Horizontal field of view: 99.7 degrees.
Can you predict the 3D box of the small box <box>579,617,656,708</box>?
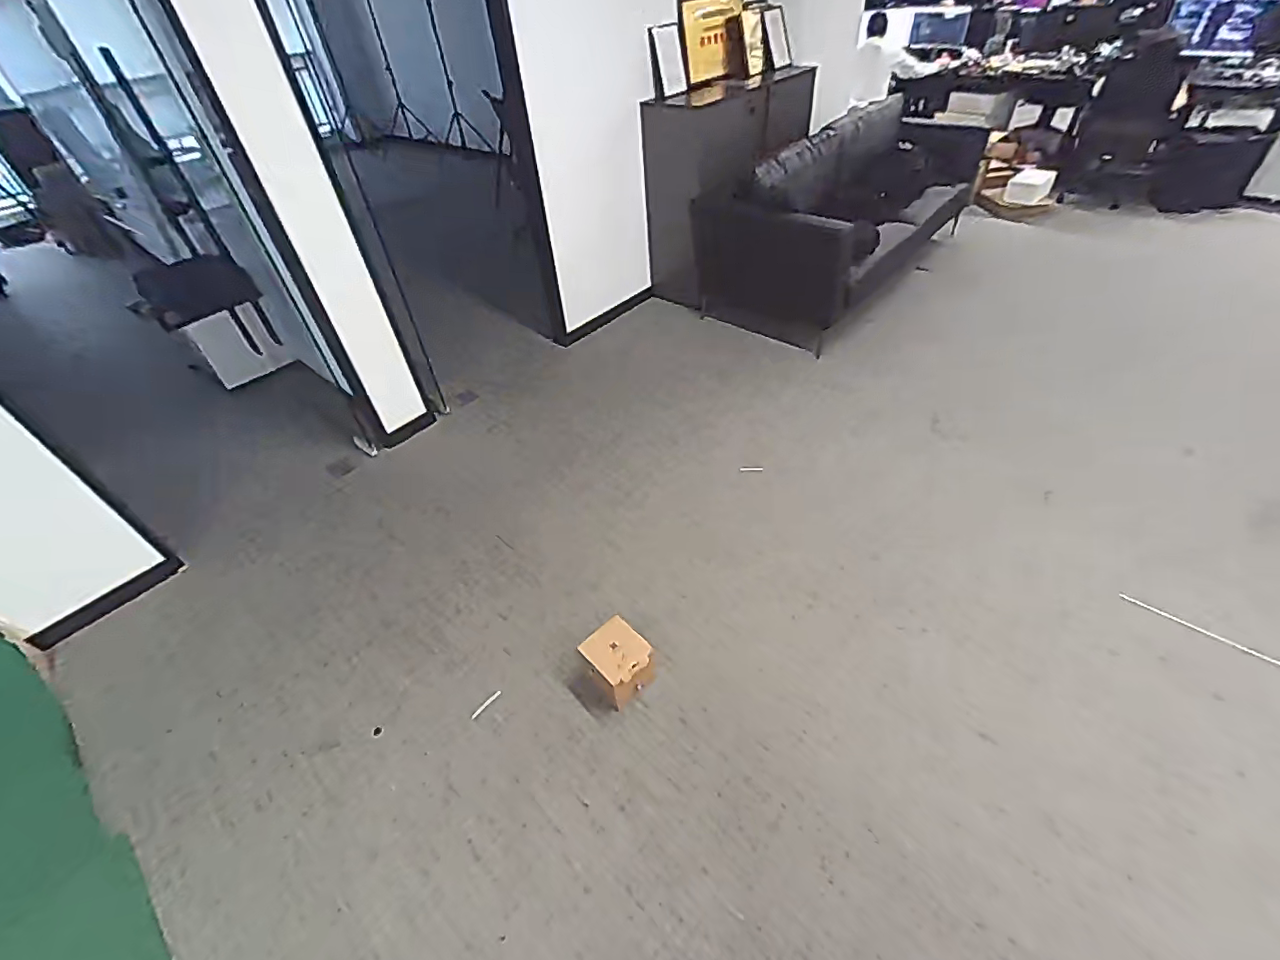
[{"bbox_3d":[-0.066,0.567,1.672,0.168,0.176,0.179,-31,50,-21],"label":"small box"}]
